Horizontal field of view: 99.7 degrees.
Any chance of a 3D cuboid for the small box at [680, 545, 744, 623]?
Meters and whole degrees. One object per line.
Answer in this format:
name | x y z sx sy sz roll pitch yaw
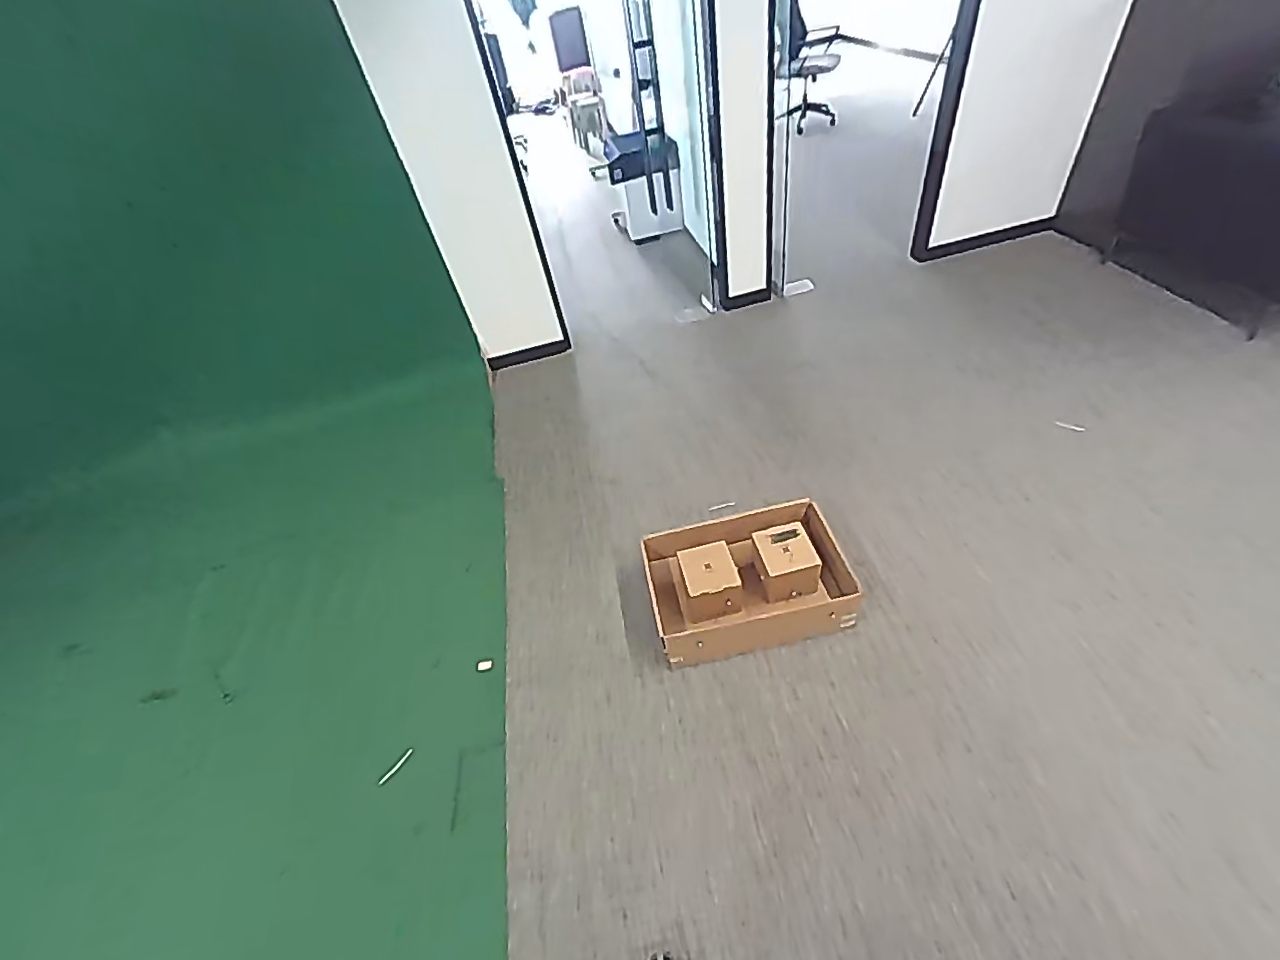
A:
small box | 0.233 0.343 1.743 0.168 0.176 0.179 -13 44 -2
